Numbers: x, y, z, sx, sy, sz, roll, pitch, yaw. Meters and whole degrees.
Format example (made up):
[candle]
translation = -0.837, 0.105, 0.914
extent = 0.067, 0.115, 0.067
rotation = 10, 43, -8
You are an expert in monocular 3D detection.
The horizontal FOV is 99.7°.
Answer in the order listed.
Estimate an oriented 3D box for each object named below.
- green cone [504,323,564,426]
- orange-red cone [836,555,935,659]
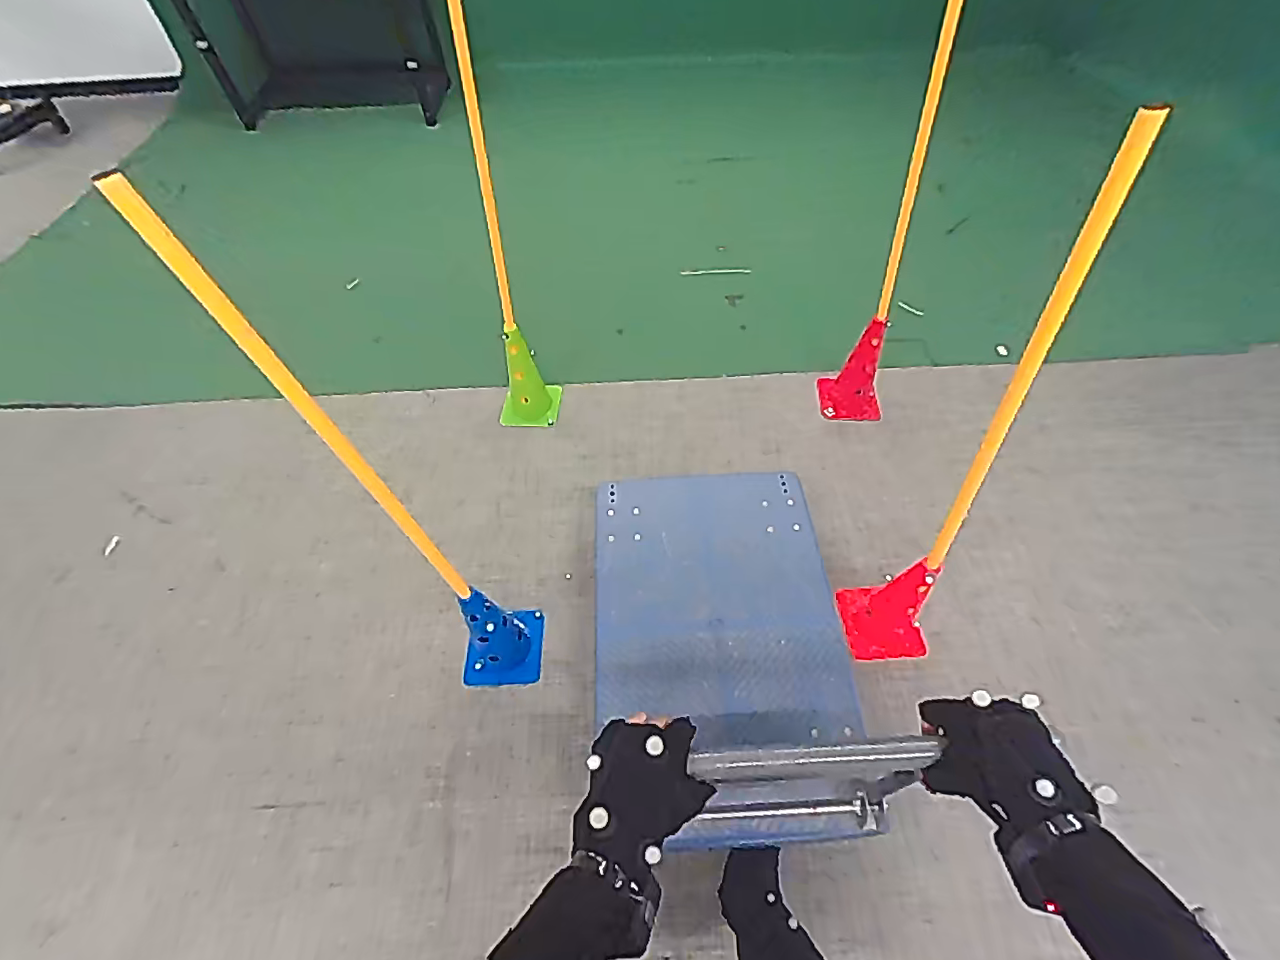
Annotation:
[green cone]
translation = -0.392, -0.374, 1.826
extent = 0.202, 0.368, 0.200
rotation = 1, 54, 4
[orange-red cone]
translation = 0.637, 0.285, 1.328
extent = 0.199, 0.360, 0.198
rotation = -4, 54, 2
